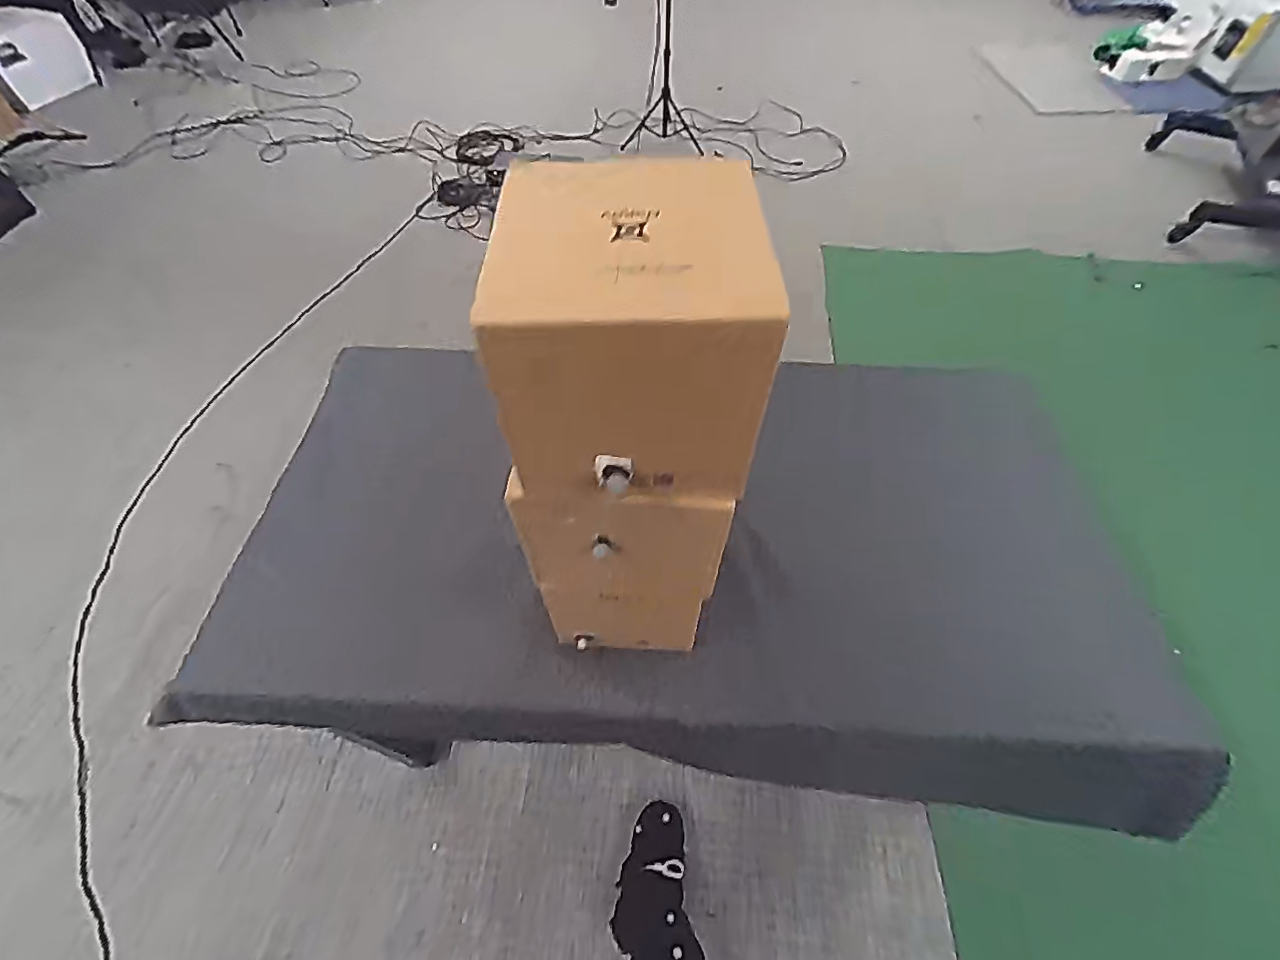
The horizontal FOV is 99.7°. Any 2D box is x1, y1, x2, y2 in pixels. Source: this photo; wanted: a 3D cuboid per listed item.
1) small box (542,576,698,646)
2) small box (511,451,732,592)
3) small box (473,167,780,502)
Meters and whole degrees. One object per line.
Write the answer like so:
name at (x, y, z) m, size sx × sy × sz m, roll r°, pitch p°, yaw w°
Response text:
small box at (-0.013, 0.090, 0.660) m, size 0.168 × 0.176 × 0.179 m, roll 2°, pitch 53°, yaw 2°
small box at (-0.012, 0.000, 0.527) m, size 0.179 × 0.176 × 0.168 m, roll 1°, pitch 52°, yaw 0°
small box at (-0.008, -0.102, 0.397) m, size 0.168 × 0.176 × 0.179 m, roll -3°, pitch 55°, yaw 0°
